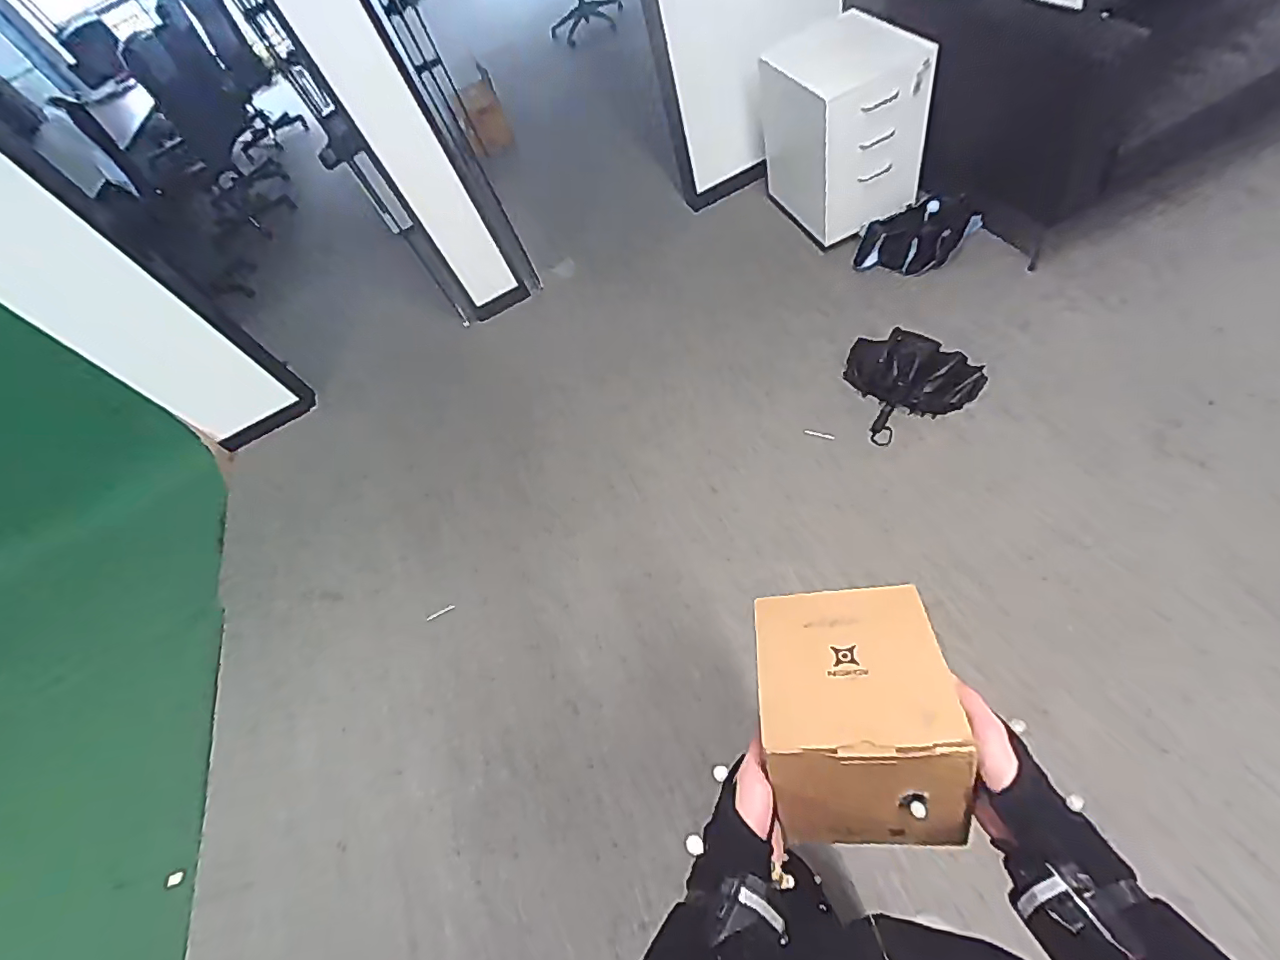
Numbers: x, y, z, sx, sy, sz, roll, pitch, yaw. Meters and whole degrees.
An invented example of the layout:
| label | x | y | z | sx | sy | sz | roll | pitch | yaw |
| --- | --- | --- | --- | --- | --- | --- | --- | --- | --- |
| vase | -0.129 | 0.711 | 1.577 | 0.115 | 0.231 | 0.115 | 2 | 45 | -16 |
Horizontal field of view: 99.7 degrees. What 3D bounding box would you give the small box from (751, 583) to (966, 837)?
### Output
| label | x | y | z | sx | sy | sz | roll | pitch | yaw |
| --- | --- | --- | --- | --- | --- | --- | --- | --- | --- |
| small box | 0.208 | 0.231 | 0.548 | 0.168 | 0.176 | 0.179 | -7 | 32 | 14 |
